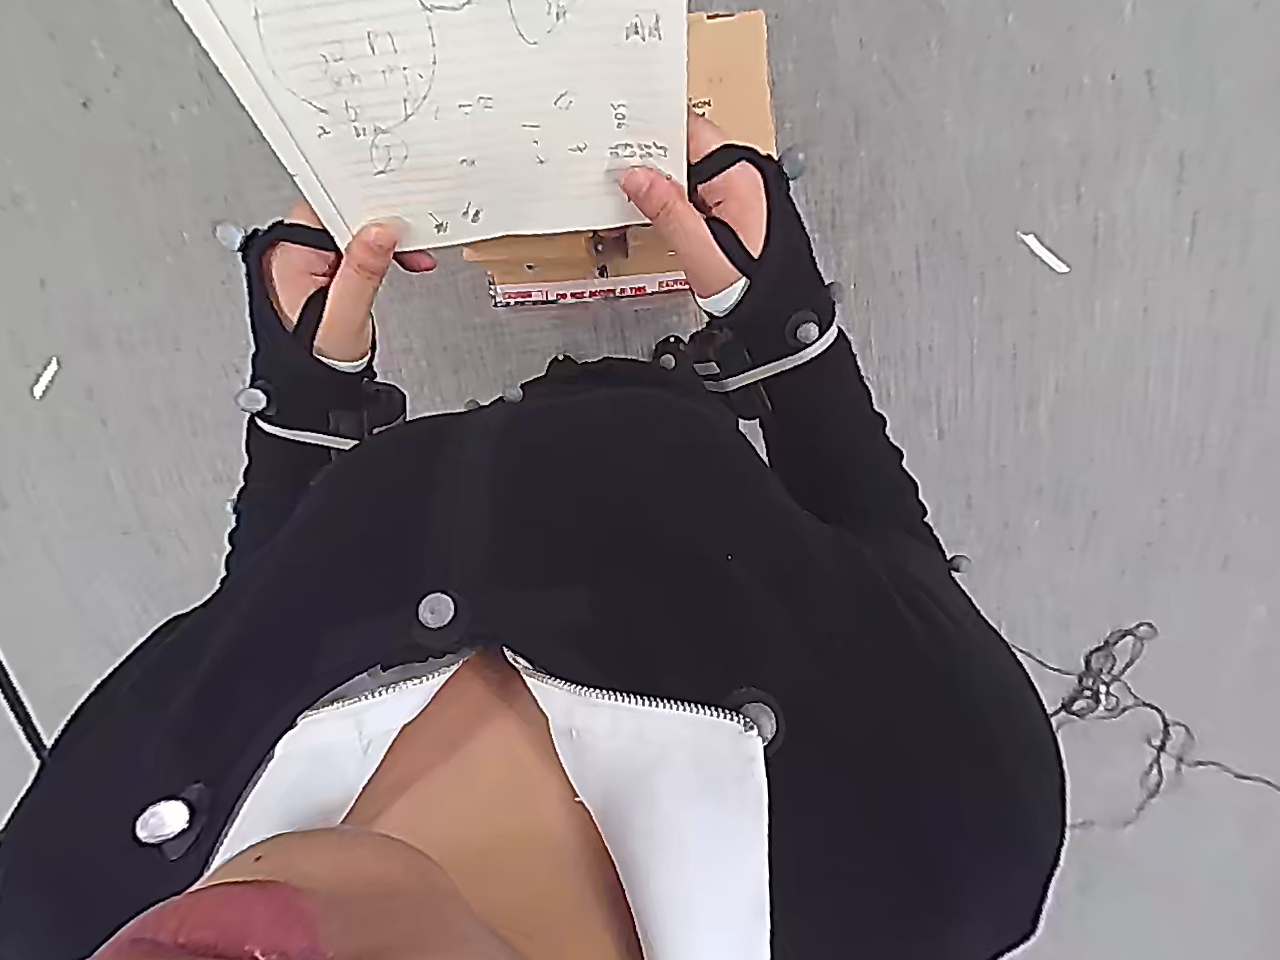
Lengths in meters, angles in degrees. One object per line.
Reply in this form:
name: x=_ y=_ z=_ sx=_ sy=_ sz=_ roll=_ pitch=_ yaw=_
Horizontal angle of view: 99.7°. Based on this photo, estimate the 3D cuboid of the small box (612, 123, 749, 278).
small box: x=0.055 y=-0.415 z=0.830 sx=0.179 sy=0.176 sz=0.168 roll=-10 pitch=105 yaw=1

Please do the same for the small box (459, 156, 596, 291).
small box: x=-0.160 y=-0.385 z=0.835 sx=0.179 sy=0.176 sz=0.168 roll=-1 pitch=106 yaw=2
